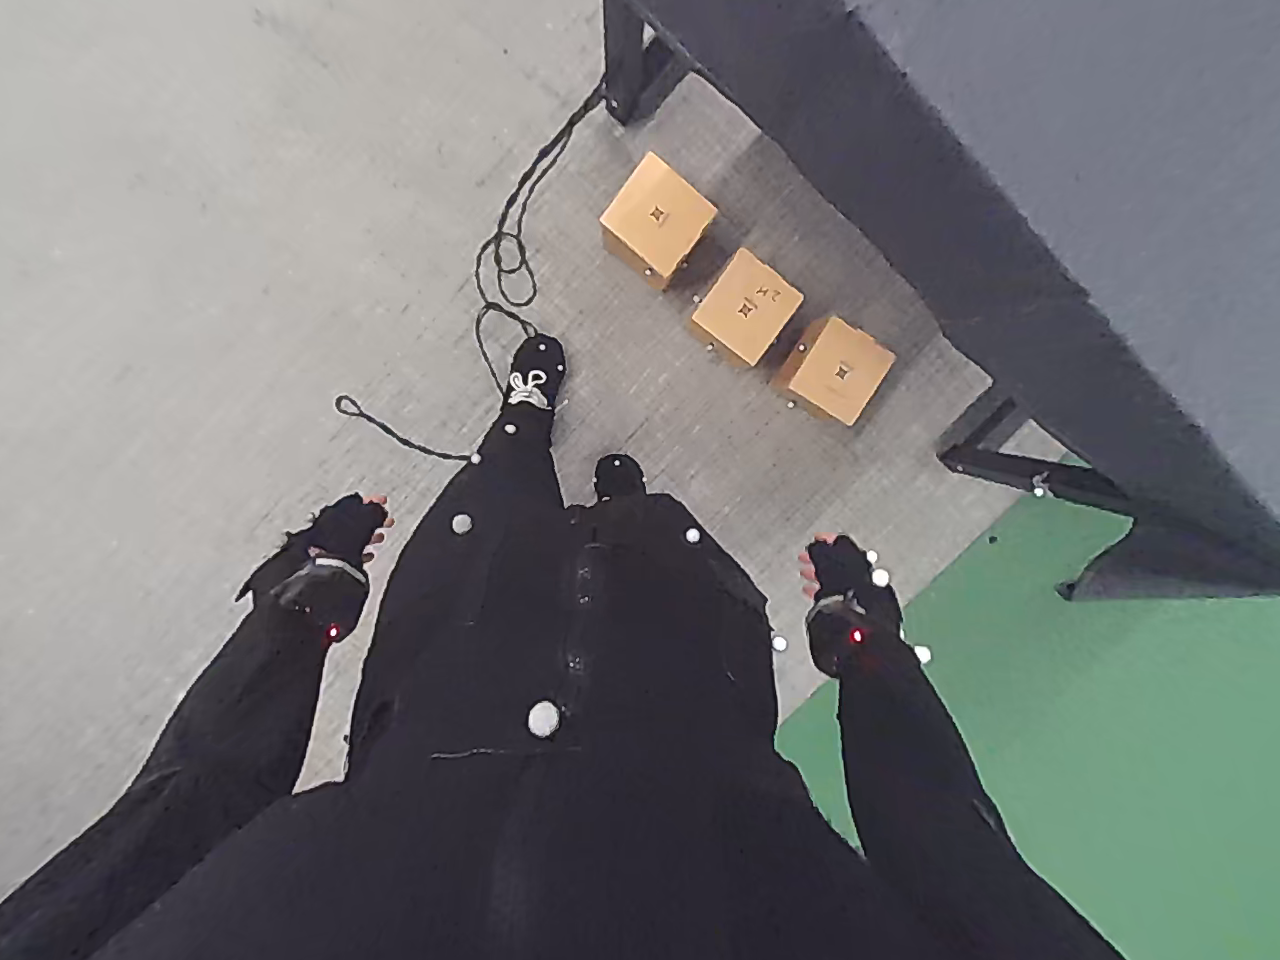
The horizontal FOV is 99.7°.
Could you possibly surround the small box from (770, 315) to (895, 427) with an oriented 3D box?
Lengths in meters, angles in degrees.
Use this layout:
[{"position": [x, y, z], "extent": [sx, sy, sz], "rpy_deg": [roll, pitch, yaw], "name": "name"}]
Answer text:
[{"position": [0.414, -0.237, 1.197], "extent": [0.168, 0.176, 0.179], "rpy_deg": [30, 97, -7], "name": "small box"}]
